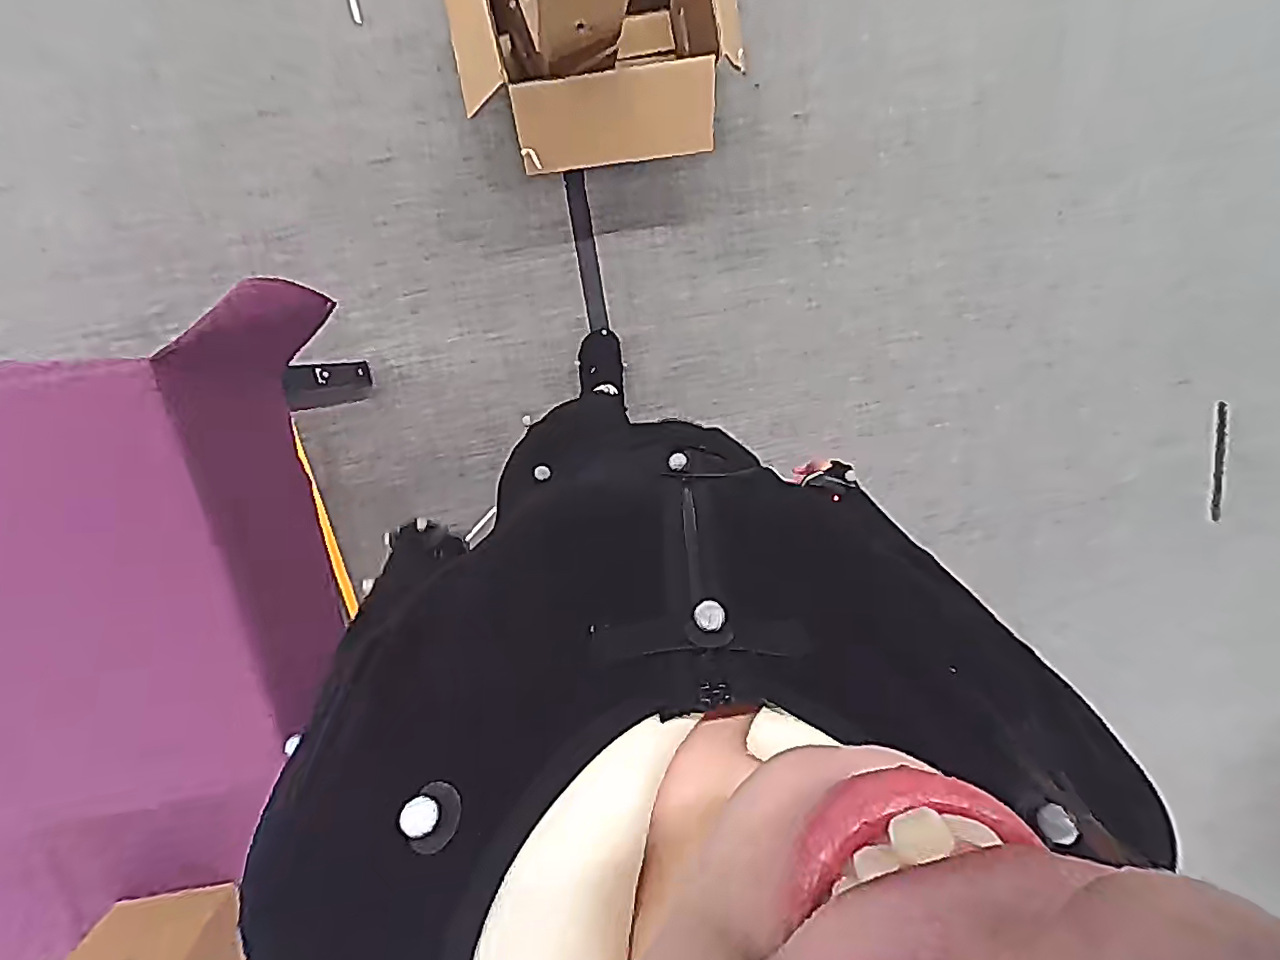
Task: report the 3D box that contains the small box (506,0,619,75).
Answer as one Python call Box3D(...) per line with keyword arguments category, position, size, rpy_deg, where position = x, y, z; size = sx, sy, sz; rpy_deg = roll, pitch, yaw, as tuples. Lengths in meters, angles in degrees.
Box3D(category="small box", position=(-0.148, -0.907, 1.005), size=(0.179, 0.176, 0.168), rpy_deg=(-32, 108, -1))

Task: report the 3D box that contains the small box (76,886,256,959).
Box3D(category="small box", position=(-0.680, 0.714, 0.758), size=(0.179, 0.176, 0.168), rpy_deg=(-7, 103, -4))
